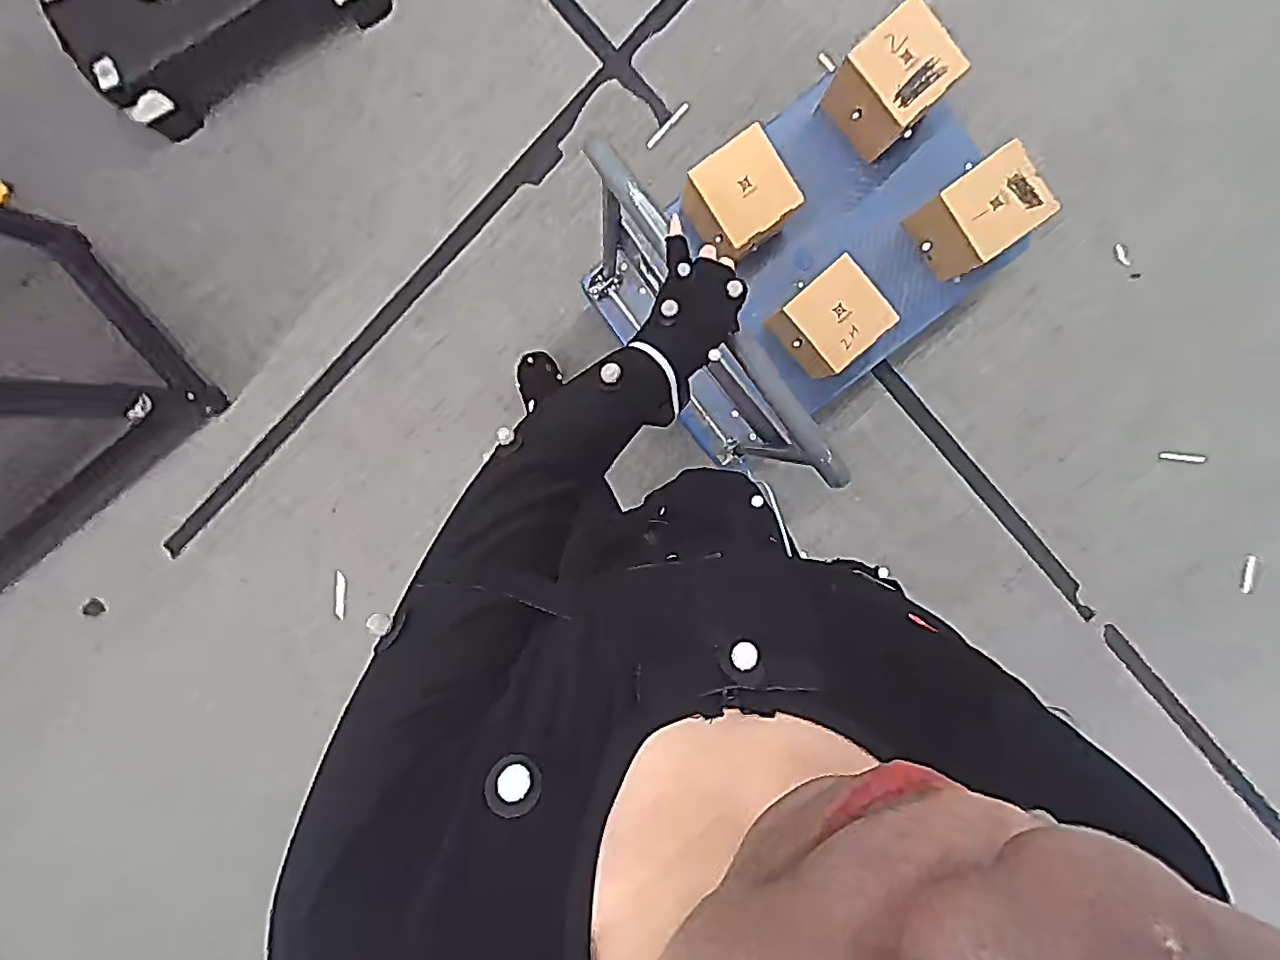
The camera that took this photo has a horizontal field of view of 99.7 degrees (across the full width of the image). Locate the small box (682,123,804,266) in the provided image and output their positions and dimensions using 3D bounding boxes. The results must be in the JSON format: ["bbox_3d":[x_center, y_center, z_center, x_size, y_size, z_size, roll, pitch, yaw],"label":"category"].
[{"bbox_3d":[0.204,-0.581,1.127,0.168,0.176,0.179,-35,98,3],"label":"small box"}]

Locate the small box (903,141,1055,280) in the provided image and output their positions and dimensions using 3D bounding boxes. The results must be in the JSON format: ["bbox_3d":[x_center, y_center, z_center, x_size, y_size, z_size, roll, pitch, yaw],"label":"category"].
[{"bbox_3d":[0.697,-0.552,1.132,0.179,0.176,0.168,-36,96,5],"label":"small box"}]

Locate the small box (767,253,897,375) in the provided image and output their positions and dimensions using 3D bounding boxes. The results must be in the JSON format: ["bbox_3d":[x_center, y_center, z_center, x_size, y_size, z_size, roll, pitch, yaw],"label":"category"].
[{"bbox_3d":[0.399,-0.342,1.157,0.168,0.176,0.179,-41,95,5],"label":"small box"}]
